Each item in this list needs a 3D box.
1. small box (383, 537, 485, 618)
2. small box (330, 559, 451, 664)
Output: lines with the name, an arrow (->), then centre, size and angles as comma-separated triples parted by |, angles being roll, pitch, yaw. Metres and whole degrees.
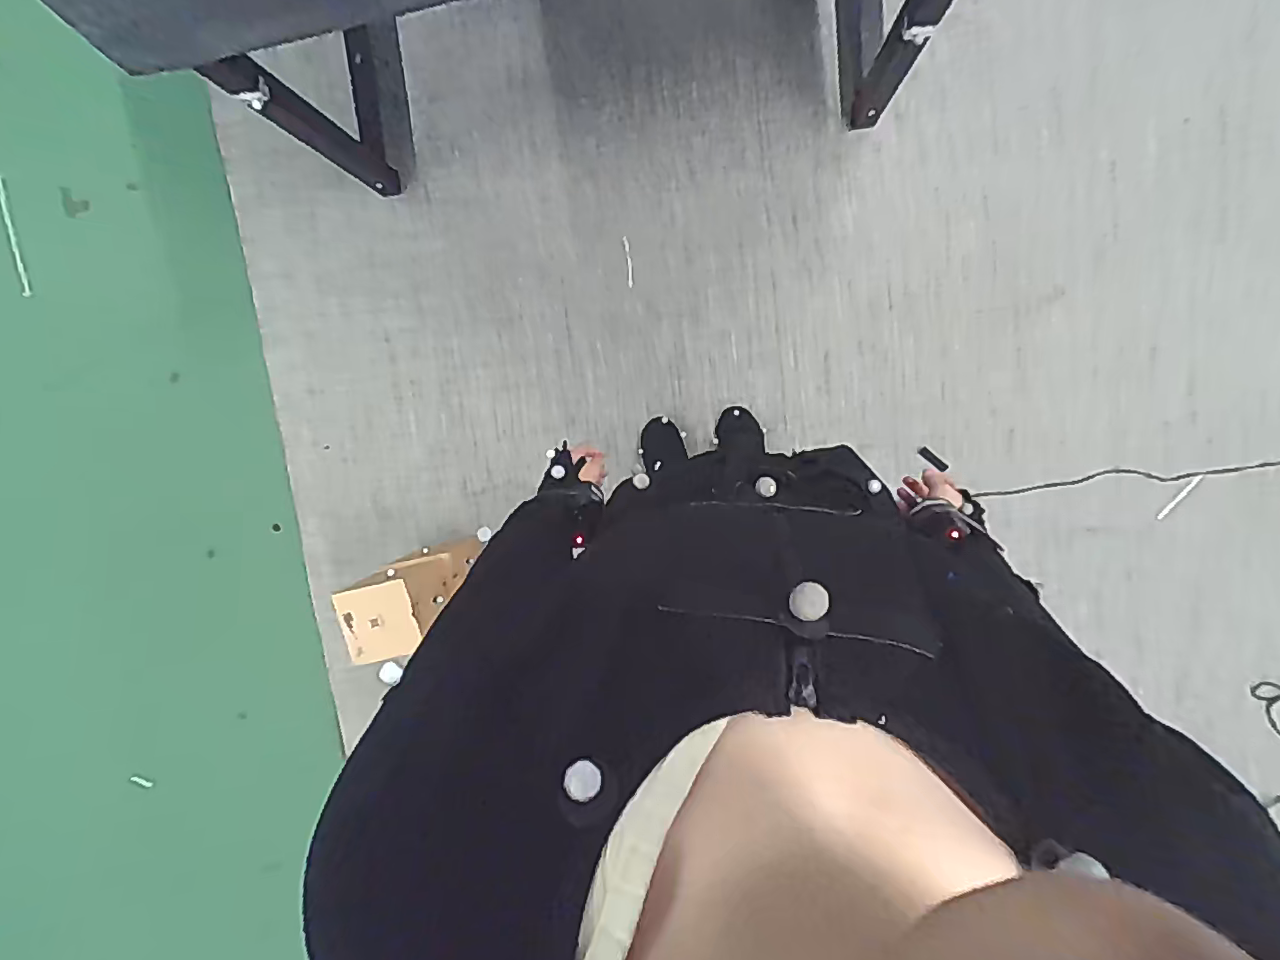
small box -> -0.511, 0.254, 1.376 | 0.179, 0.176, 0.168 | -13, 95, 8
small box -> -0.548, 0.288, 1.218 | 0.179, 0.176, 0.168 | -14, 95, 7
